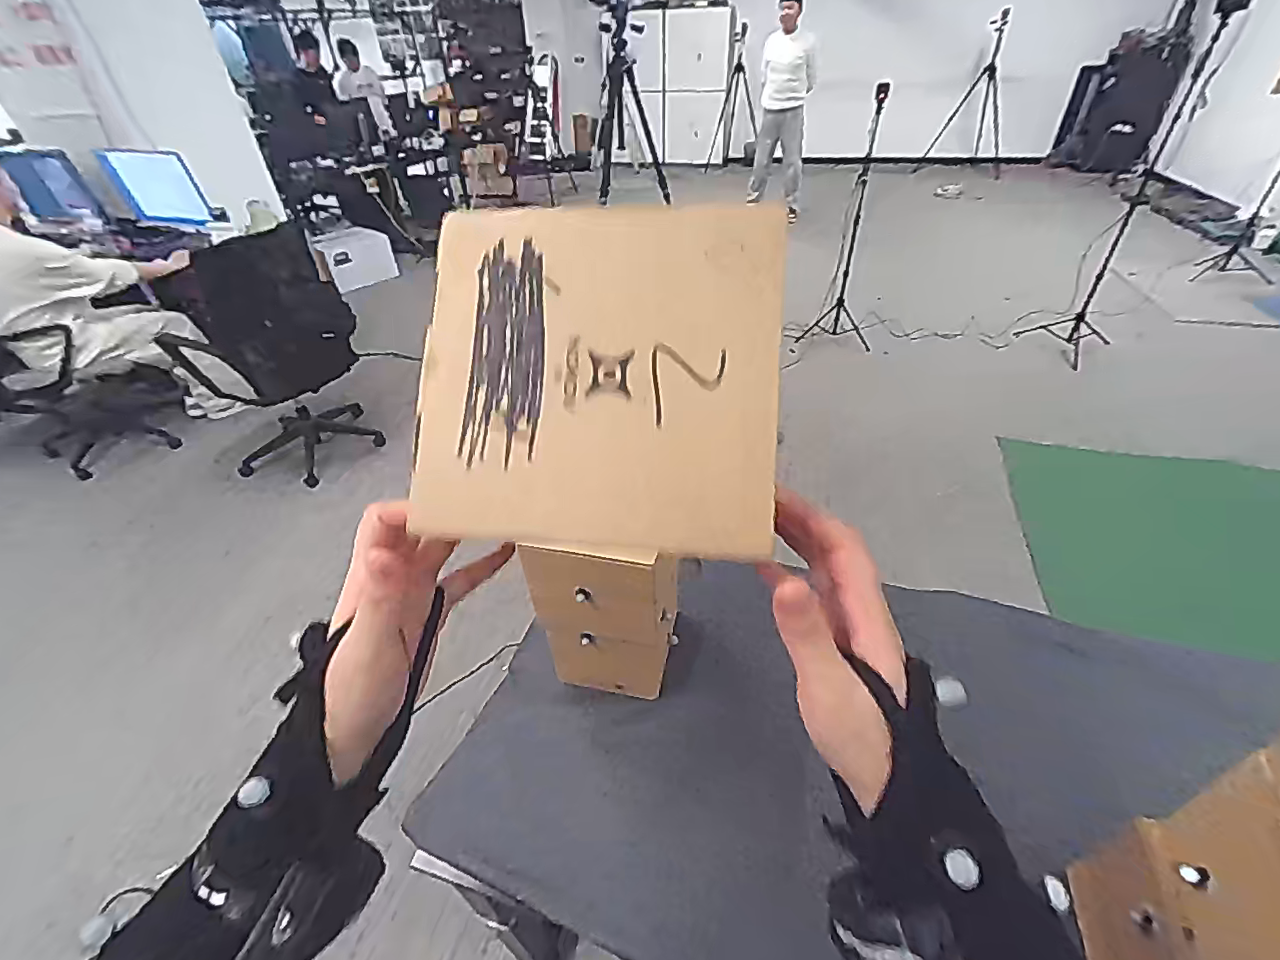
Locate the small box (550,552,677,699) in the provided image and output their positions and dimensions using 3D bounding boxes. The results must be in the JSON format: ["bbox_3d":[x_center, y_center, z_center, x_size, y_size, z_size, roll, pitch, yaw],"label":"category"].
[{"bbox_3d":[-0.037,0.216,0.866,0.168,0.176,0.179,6,40,11],"label":"small box"}]

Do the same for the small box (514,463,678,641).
[{"bbox_3d":[-0.047,0.100,0.749,0.179,0.176,0.168,7,41,13],"label":"small box"}]

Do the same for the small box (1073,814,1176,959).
[{"bbox_3d":[0.559,0.466,0.515,0.168,0.176,0.179,9,40,16],"label":"small box"}]

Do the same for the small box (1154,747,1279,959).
[{"bbox_3d":[0.547,0.347,0.404,0.179,0.176,0.168,16,42,24],"label":"small box"}]
